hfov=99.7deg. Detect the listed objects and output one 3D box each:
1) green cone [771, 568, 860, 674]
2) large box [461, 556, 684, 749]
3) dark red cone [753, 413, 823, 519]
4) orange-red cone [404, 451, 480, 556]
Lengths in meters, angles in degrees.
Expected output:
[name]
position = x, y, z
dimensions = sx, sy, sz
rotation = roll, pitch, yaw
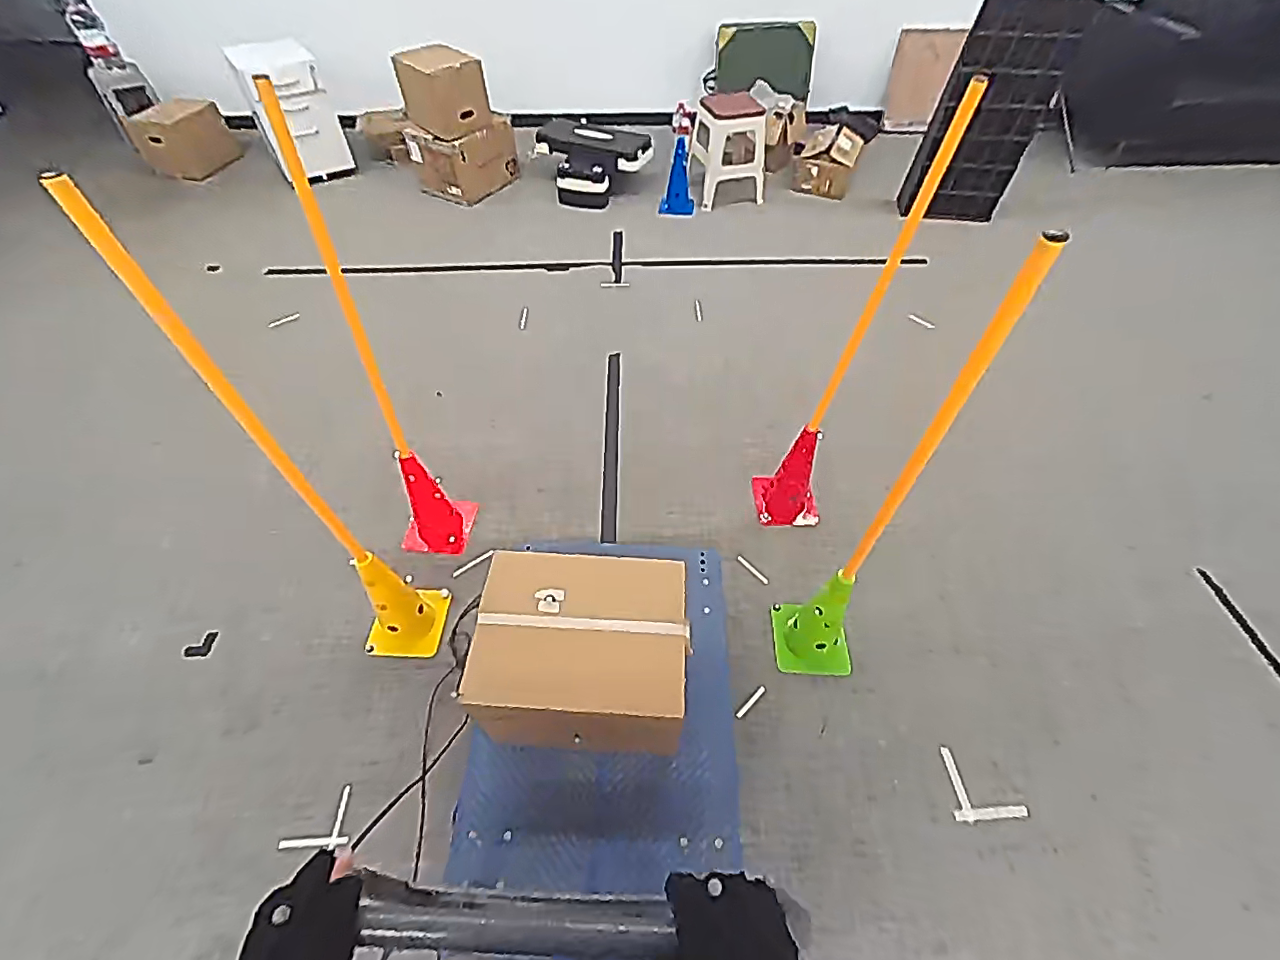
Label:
[green cone]
position = 0.480, 0.335, 1.386
dimensions = 0.202, 0.368, 0.200
rotation = 3, 51, 1
[large box]
position = -0.113, 0.378, 1.165
dimensions = 0.408, 0.320, 0.320
rotation = 3, 52, 3
[dark red cone]
position = 0.492, -0.053, 1.678
dimensions = 0.201, 0.394, 0.202
rotation = 0, 51, -2
[orange-red cone]
position = -0.637, 0.043, 1.626
dimensions = 0.198, 0.360, 0.199
rotation = 6, 50, 3
